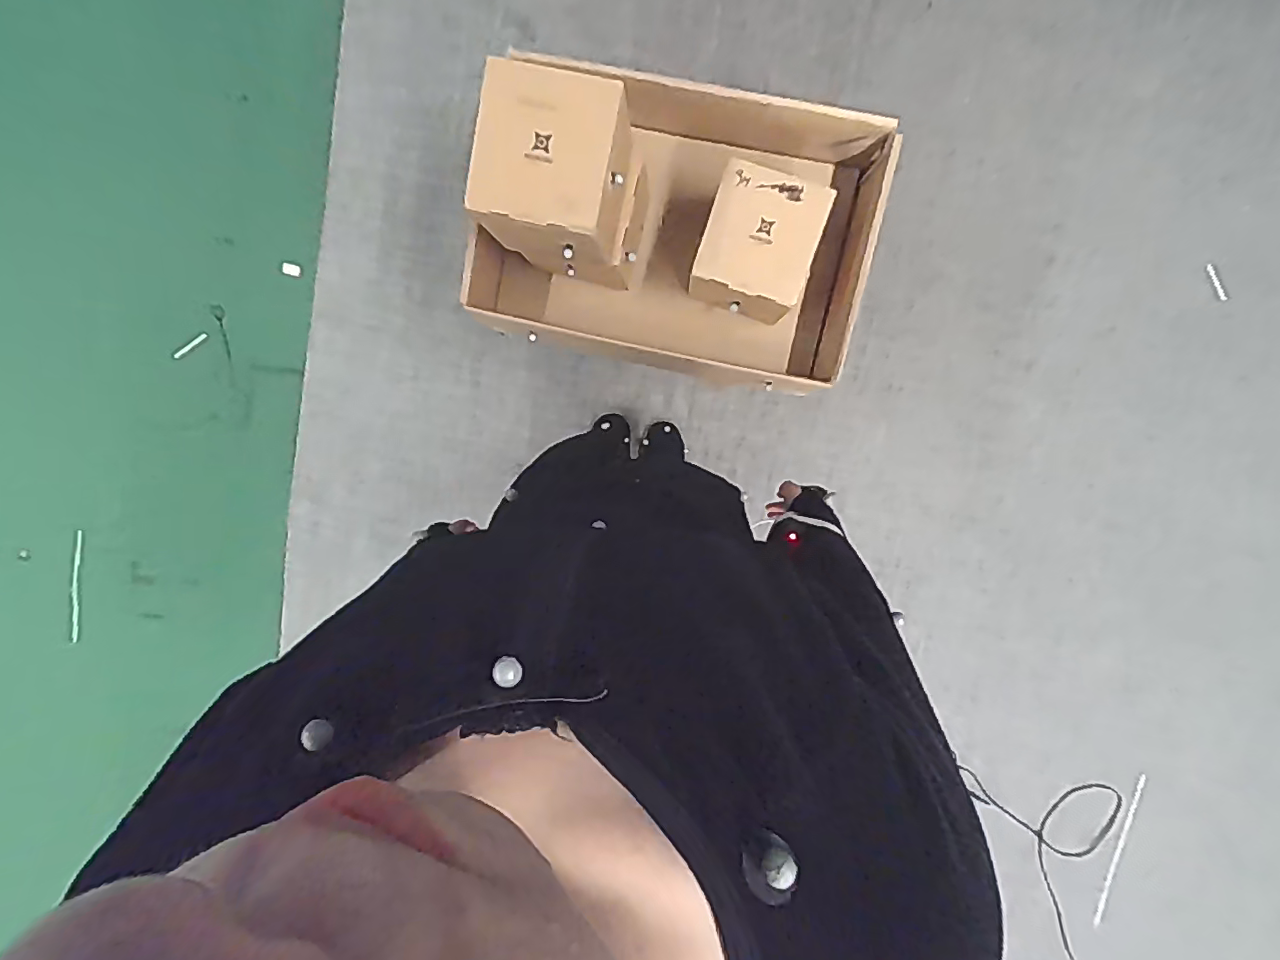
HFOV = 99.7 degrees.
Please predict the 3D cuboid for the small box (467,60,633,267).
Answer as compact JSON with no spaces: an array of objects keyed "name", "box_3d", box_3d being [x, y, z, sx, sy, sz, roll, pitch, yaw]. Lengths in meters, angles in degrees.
[{"name":"small box","box_3d":[-0.109,-0.407,0.728,0.168,0.176,0.179,14,97,3]}]
